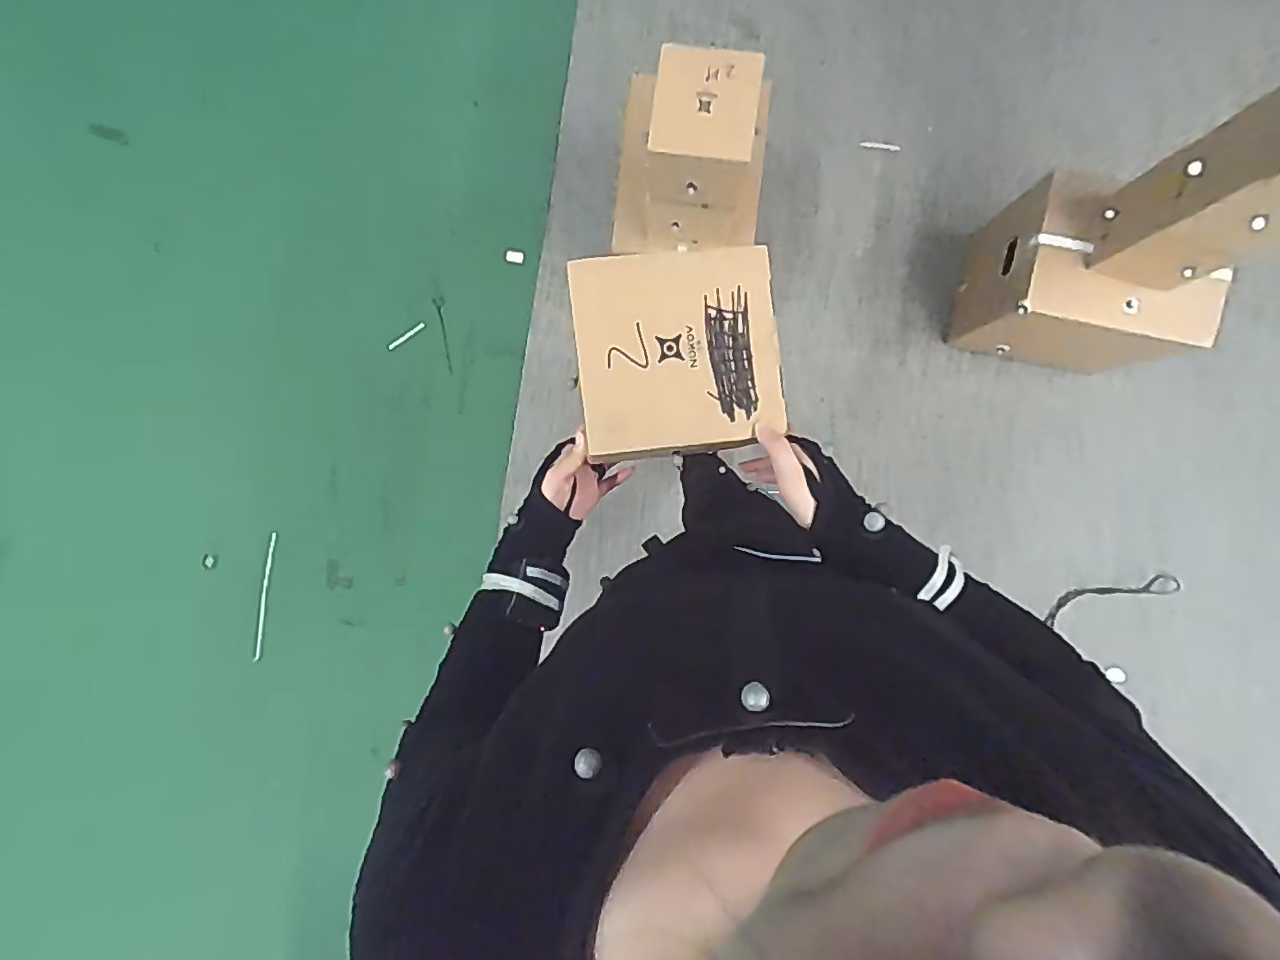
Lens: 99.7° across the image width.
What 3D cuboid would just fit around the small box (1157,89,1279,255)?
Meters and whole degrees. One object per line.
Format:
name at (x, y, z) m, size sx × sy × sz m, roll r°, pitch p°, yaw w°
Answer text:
small box at (1.033, -0.498, 0.891) m, size 0.179 × 0.176 × 0.168 m, roll 18°, pitch 89°, yaw 3°

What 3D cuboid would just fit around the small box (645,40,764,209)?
small box at (0.104, -0.594, 0.925) m, size 0.168 × 0.176 × 0.179 m, roll 9°, pitch 90°, yaw 2°

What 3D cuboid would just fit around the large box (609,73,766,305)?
large box at (0.112, -0.685, 1.334) m, size 0.320 × 0.320 × 0.408 m, roll 7°, pitch 90°, yaw 2°

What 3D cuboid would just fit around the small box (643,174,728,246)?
small box at (0.103, -0.597, 1.090) m, size 0.168 × 0.176 × 0.179 m, roll 9°, pitch 90°, yaw 2°

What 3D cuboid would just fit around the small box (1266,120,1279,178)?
small box at (1.026, -0.506, 0.727) m, size 0.168 × 0.176 × 0.179 m, roll 17°, pitch 89°, yaw 1°

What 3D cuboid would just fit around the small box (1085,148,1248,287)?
small box at (1.036, -0.499, 1.055) m, size 0.179 × 0.176 × 0.168 m, roll 17°, pitch 89°, yaw 2°
